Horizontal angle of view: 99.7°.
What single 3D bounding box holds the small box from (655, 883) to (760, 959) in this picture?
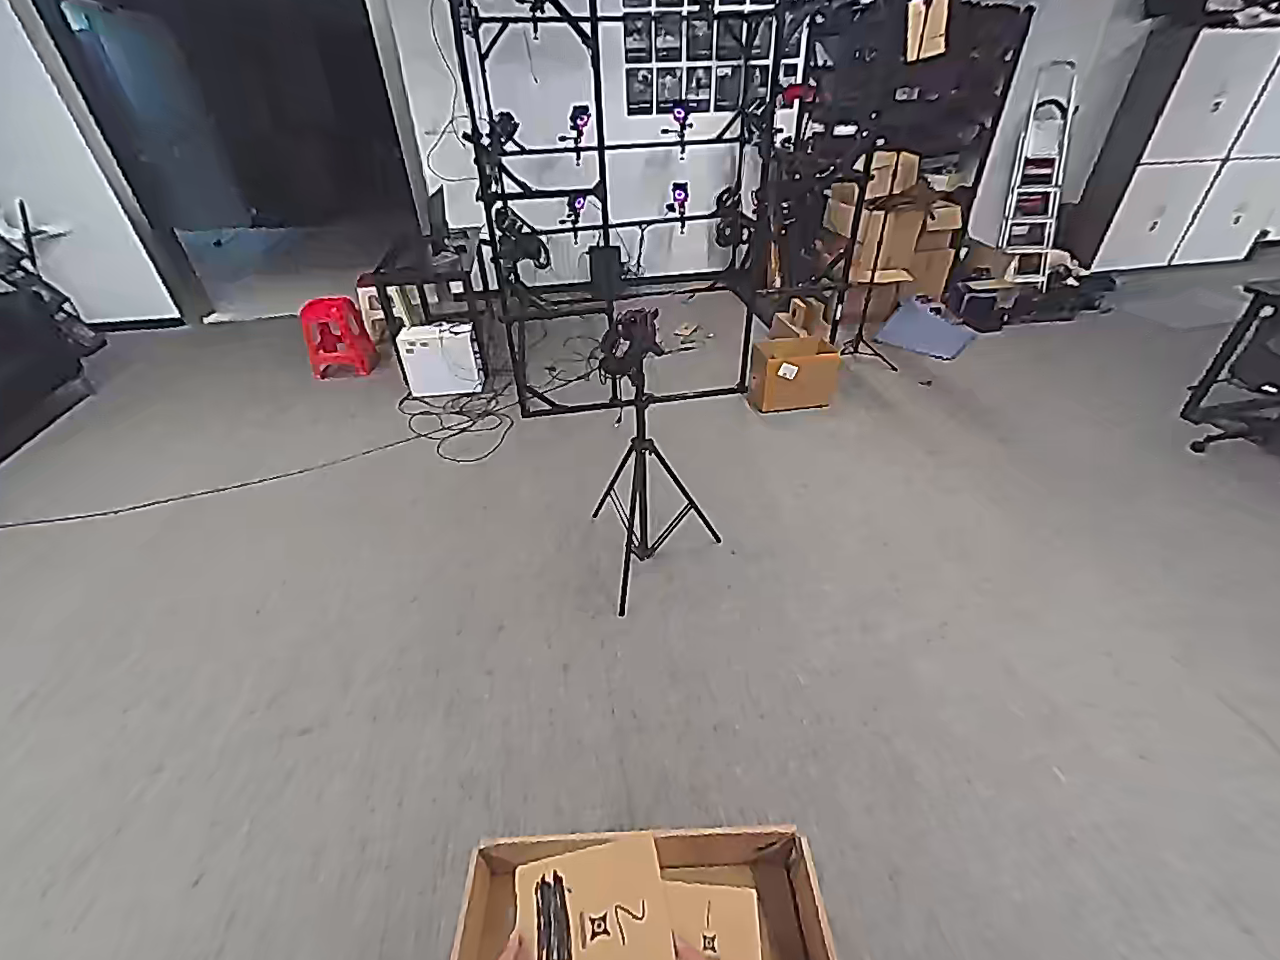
[{"bbox_3d":[0.110,0.804,0.889,0.168,0.176,0.179,1,35,6],"label":"small box"}]
